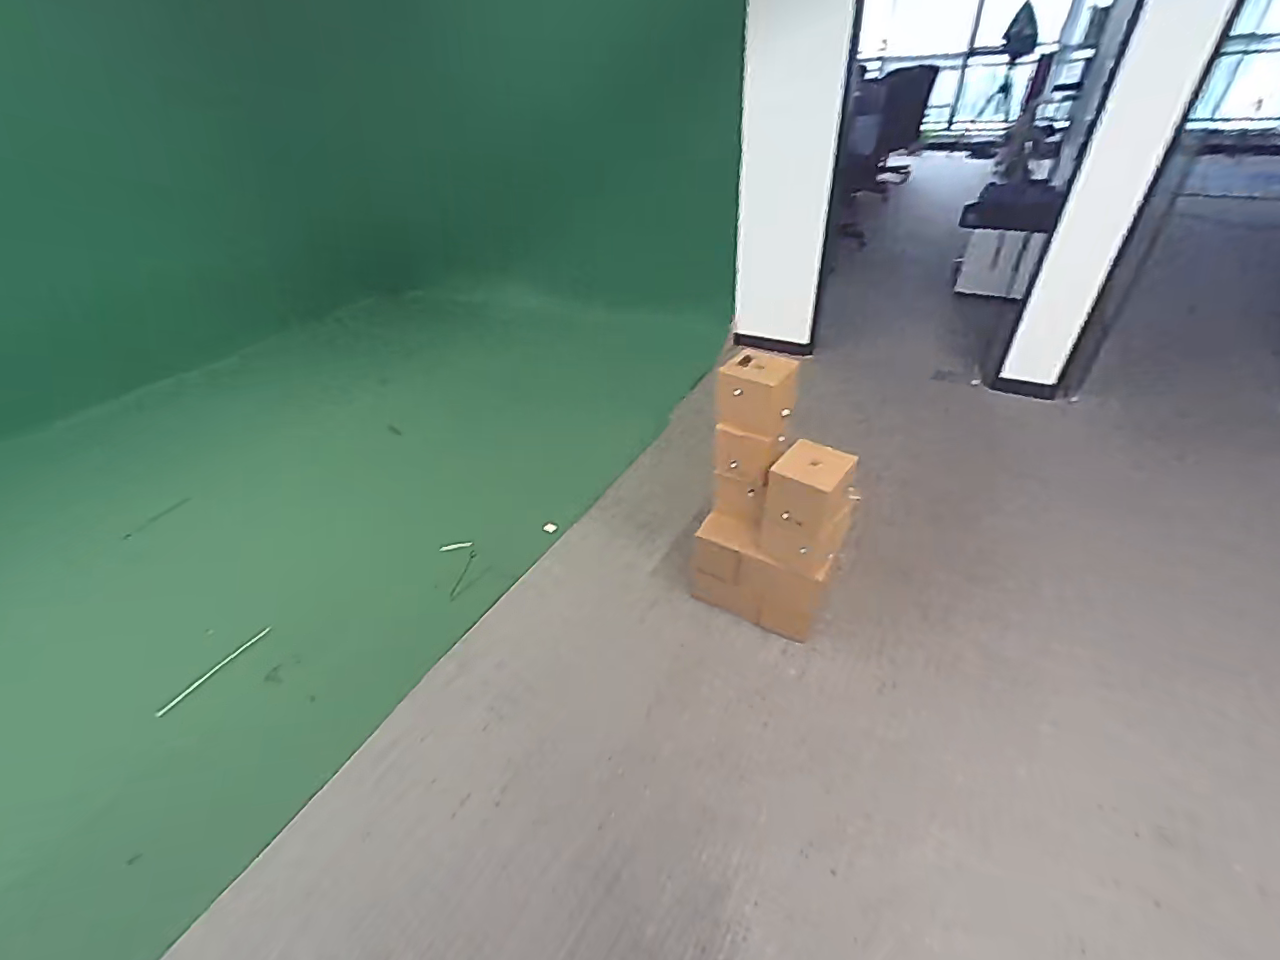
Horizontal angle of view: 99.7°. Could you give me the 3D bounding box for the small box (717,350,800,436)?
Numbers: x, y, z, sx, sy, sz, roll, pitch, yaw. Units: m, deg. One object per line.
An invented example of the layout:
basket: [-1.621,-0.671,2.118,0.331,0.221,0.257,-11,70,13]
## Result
small box: [0.331,-0.246,1.540,0.179,0.176,0.168,23,46,30]

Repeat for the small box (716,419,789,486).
small box: [0.335,-0.112,1.635,0.168,0.176,0.179,19,44,26]

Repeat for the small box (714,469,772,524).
small box: [0.348,0.018,1.733,0.179,0.176,0.168,17,42,25]

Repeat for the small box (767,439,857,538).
small box: [0.455,0.022,1.451,0.168,0.176,0.179,25,47,32]
